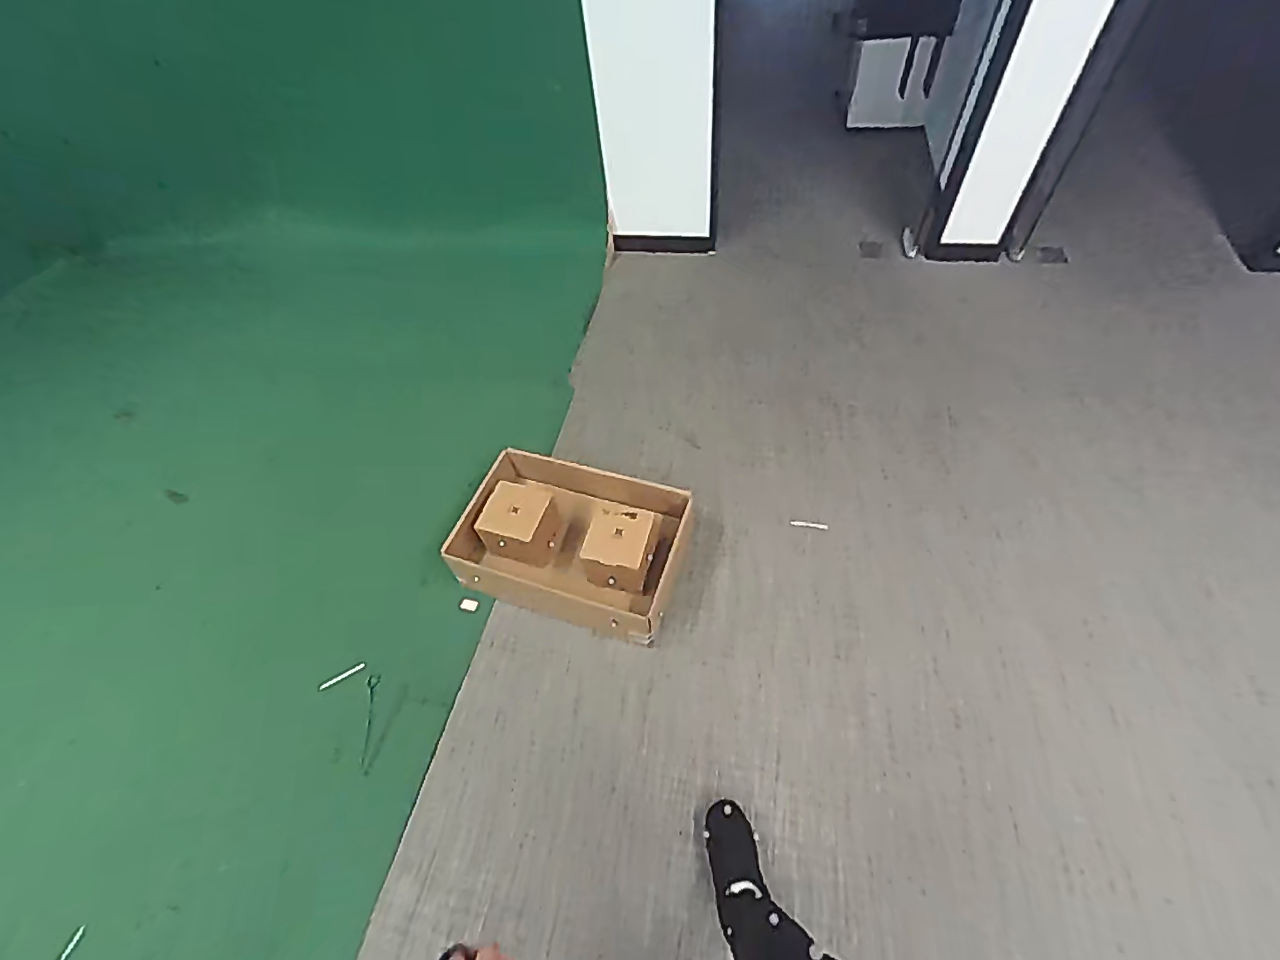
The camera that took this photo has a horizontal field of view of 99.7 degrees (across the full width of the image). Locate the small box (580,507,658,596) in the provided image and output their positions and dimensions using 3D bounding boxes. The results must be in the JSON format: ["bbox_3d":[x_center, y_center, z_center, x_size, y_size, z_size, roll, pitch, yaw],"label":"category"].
[{"bbox_3d":[-0.049,0.202,1.496,0.168,0.176,0.179,10,57,13],"label":"small box"}]
